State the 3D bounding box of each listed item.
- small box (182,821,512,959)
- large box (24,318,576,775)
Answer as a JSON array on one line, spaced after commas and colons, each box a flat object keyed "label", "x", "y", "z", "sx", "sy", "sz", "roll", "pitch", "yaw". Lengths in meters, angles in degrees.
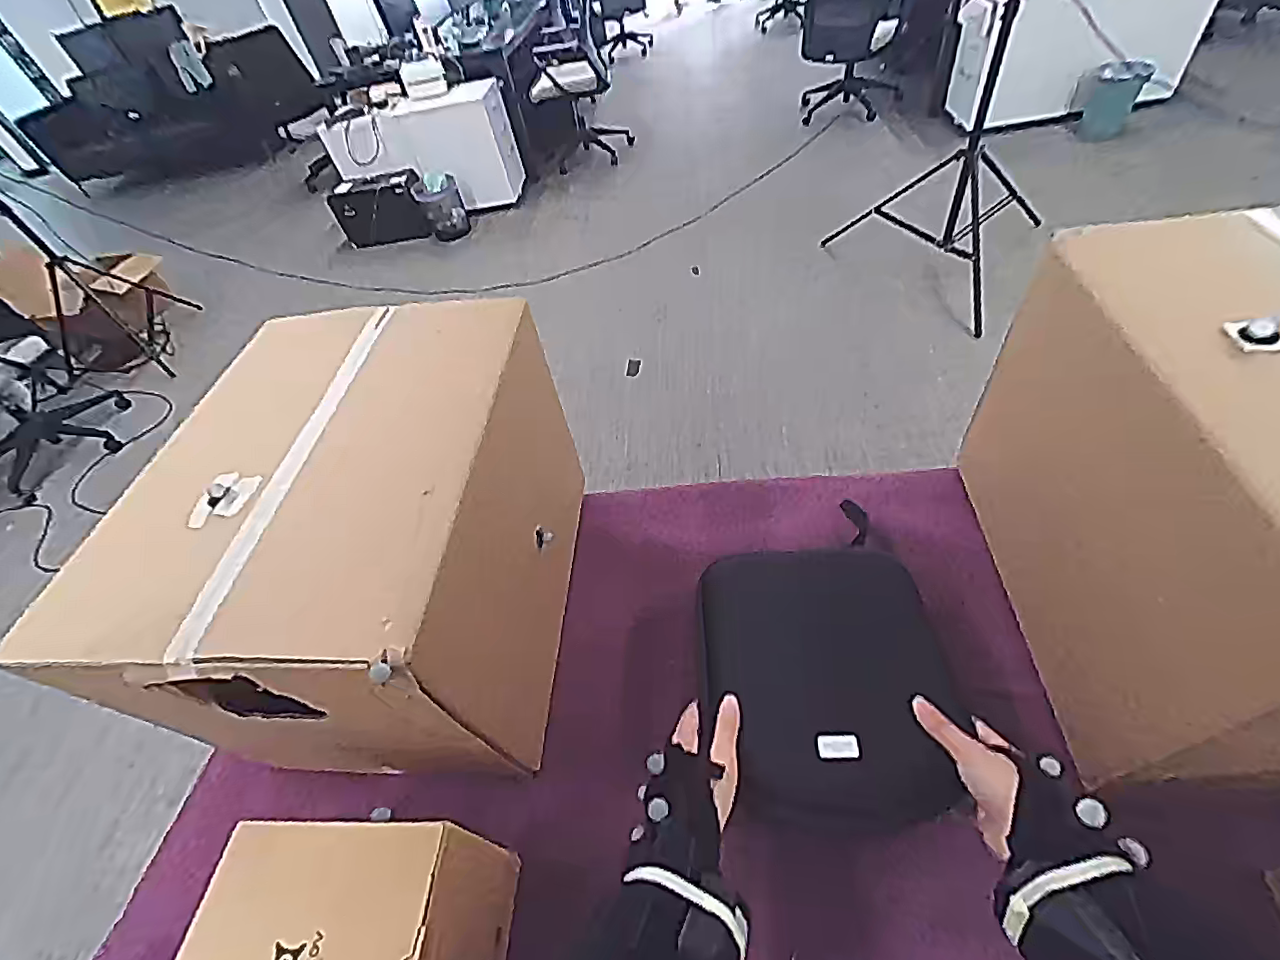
[{"label": "small box", "x": -0.222, "y": 0.380, "z": 0.423, "sx": 0.179, "sy": 0.176, "sz": 0.168, "roll": -5, "pitch": 47, "yaw": 7}, {"label": "large box", "x": -0.266, "y": 0.075, "z": 0.603, "sx": 0.320, "sy": 0.320, "sz": 0.408, "roll": -3, "pitch": 51, "yaw": 8}]
